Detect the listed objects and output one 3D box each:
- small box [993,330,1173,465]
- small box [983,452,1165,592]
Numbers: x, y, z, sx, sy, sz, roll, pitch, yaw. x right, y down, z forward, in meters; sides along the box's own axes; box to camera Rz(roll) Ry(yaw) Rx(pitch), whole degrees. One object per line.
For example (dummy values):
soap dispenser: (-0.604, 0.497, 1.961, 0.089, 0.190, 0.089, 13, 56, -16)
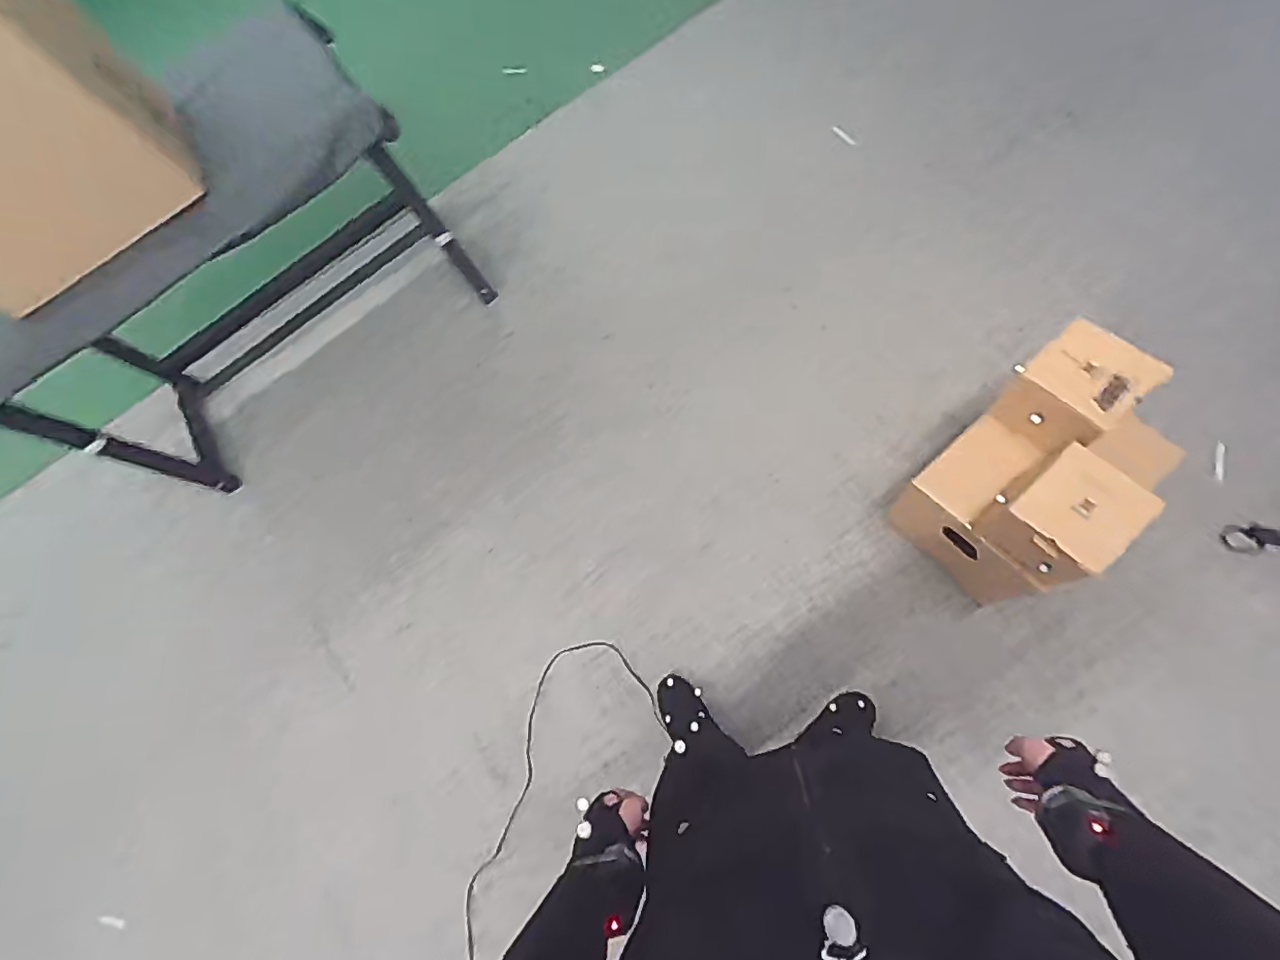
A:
small box: (0.839, -0.147, 1.048, 0.168, 0.176, 0.179, -40, 65, -3)
small box: (0.768, 0.086, 0.986, 0.179, 0.176, 0.168, -44, 71, -5)
